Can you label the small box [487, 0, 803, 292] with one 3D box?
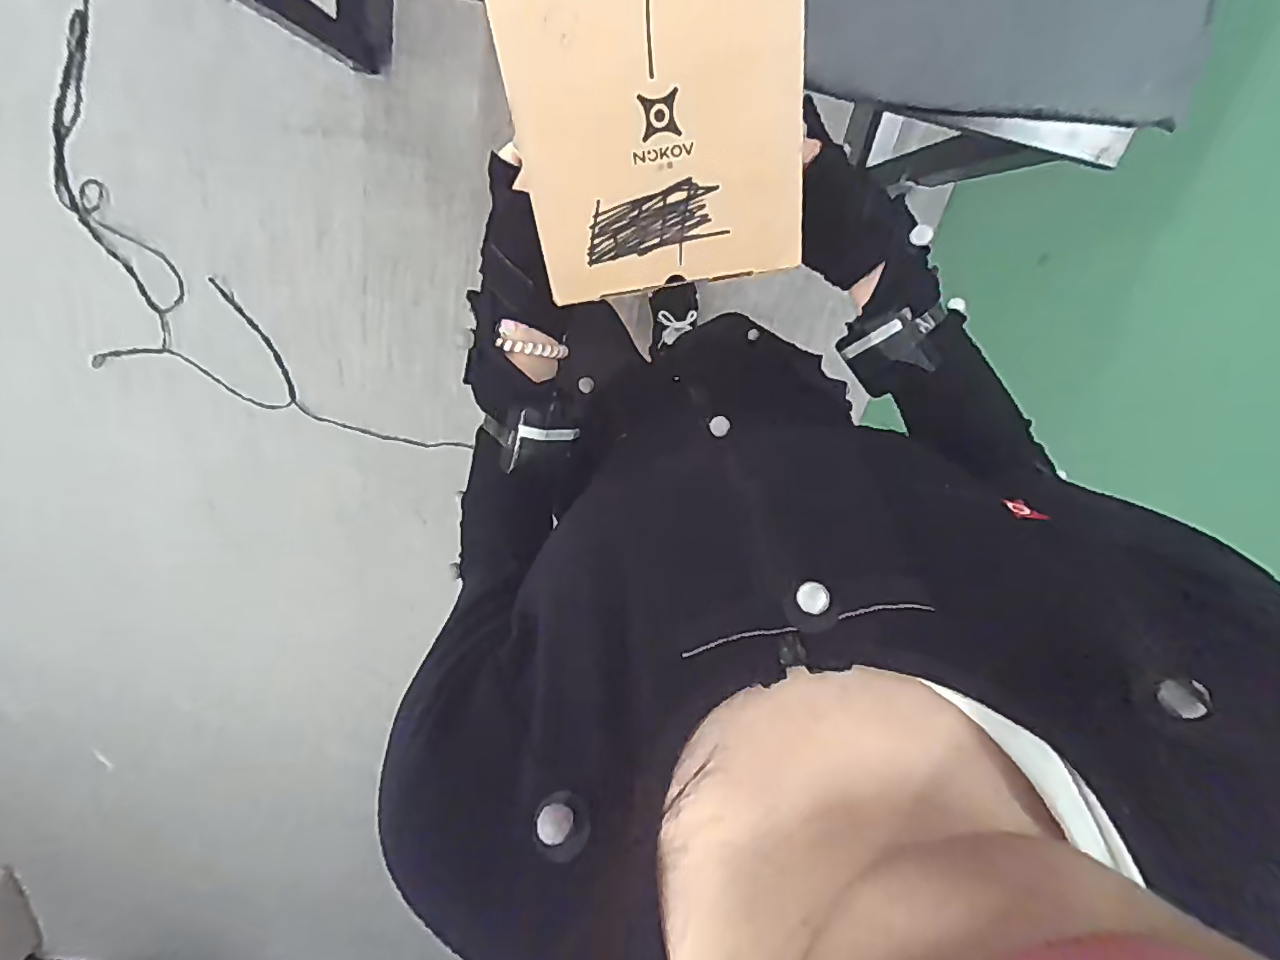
[{"bbox_3d":[0.009,-0.249,0.375,0.168,0.176,0.179,-7,123,4],"label":"small box"}]
